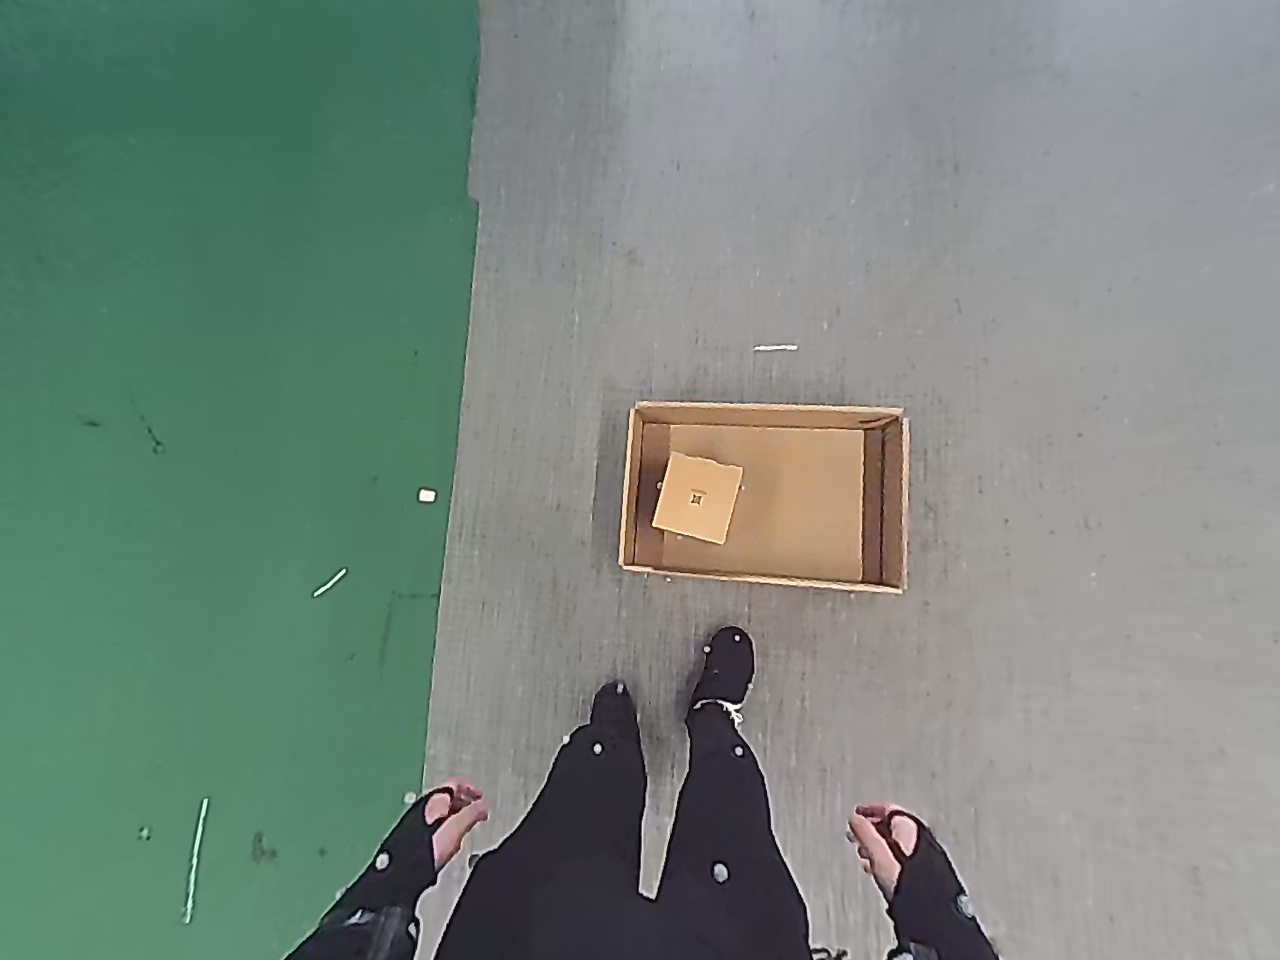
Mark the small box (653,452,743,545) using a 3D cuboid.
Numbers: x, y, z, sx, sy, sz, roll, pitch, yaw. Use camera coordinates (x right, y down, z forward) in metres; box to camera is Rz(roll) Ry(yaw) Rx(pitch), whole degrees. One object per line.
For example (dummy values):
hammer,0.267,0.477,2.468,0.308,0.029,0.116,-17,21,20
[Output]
small box,0.140,0.050,1.264,0.168,0.176,0.179,14,83,11
